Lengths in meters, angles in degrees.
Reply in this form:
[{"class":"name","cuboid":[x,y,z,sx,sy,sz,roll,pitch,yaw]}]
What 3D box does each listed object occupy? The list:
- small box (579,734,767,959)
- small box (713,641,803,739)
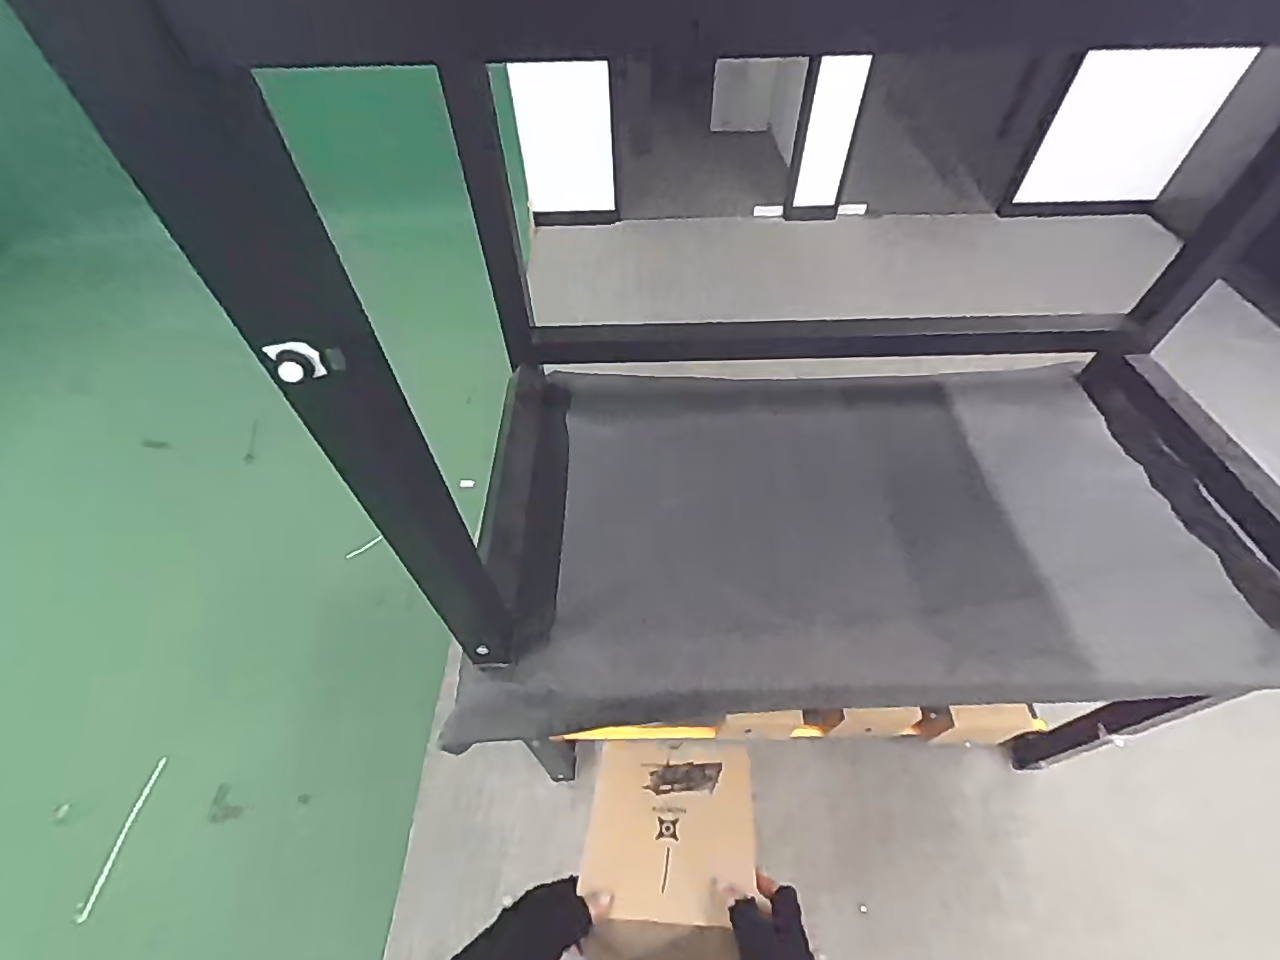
[{"class":"small box","cuboid":[0.042,0.404,0.575,0.168,0.176,0.179,-2,29,8]},{"class":"small box","cuboid":[0.262,0.484,1.237,0.168,0.176,0.179,0,52,0]}]
